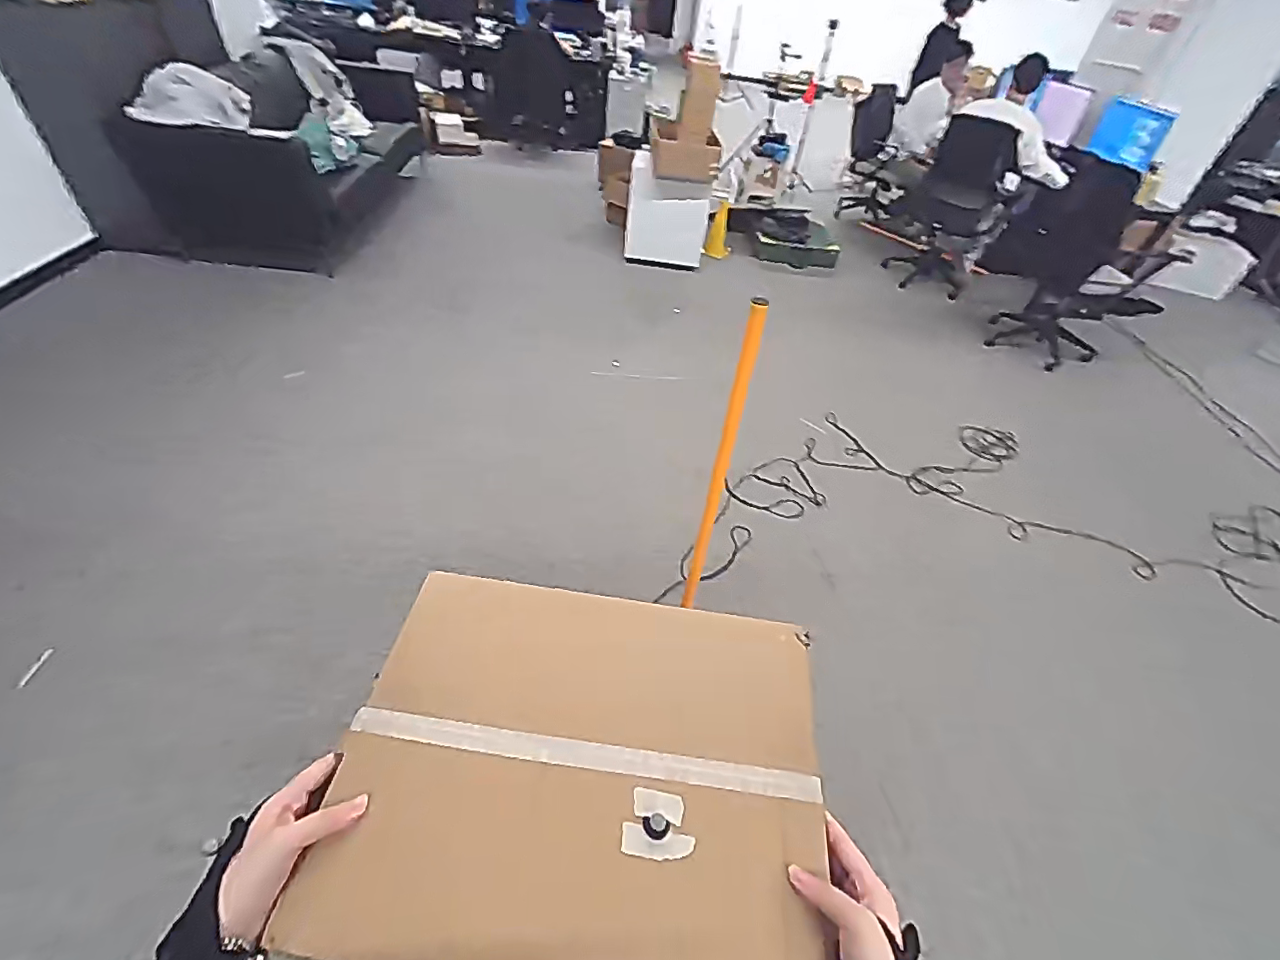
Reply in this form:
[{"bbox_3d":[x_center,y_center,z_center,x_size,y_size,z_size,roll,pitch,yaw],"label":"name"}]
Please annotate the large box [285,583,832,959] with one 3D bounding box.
[{"bbox_3d":[-0.057,0.347,0.590,0.408,0.320,0.320,8,47,1],"label":"large box"}]
